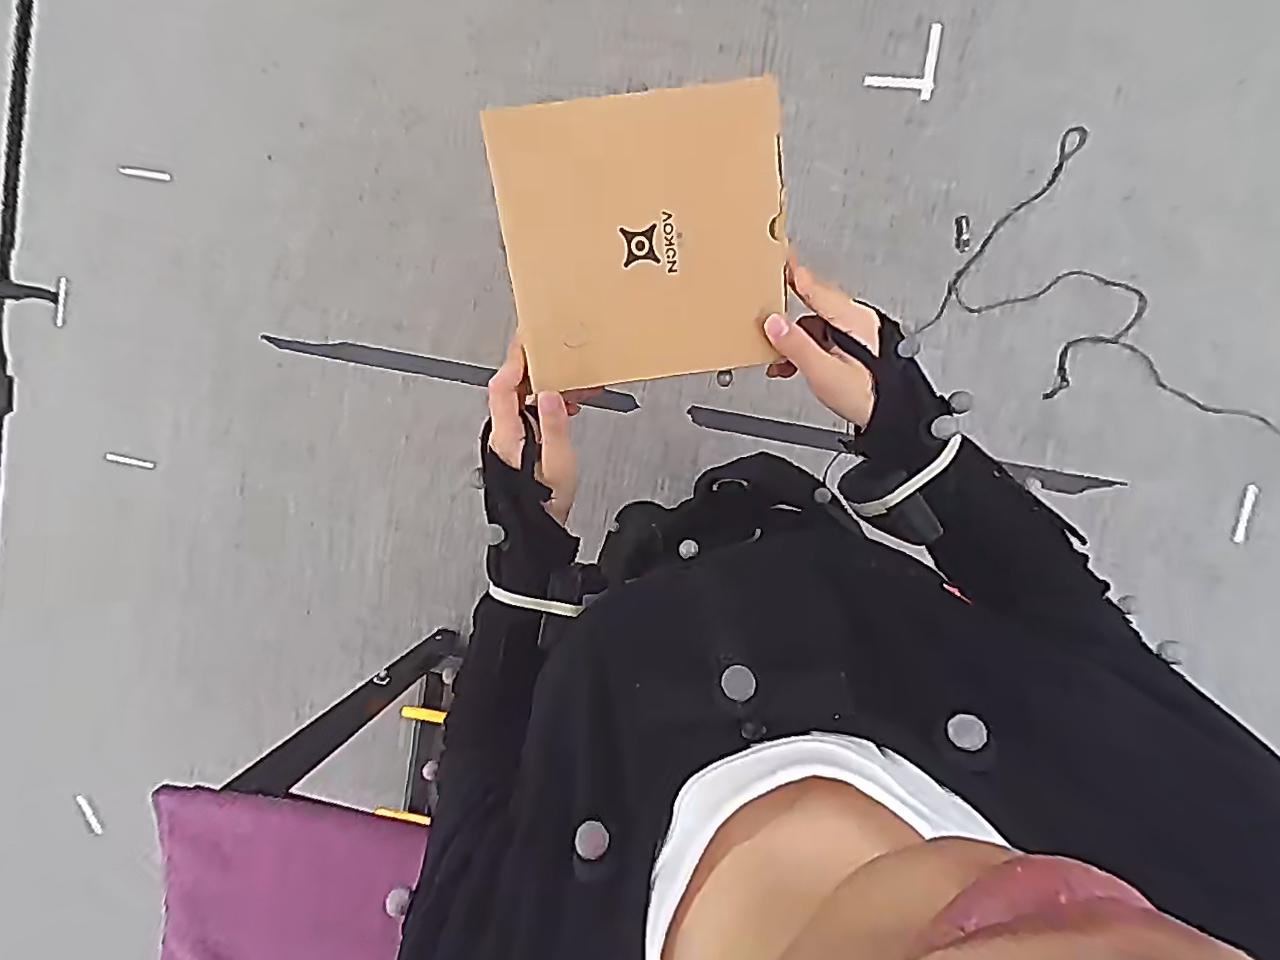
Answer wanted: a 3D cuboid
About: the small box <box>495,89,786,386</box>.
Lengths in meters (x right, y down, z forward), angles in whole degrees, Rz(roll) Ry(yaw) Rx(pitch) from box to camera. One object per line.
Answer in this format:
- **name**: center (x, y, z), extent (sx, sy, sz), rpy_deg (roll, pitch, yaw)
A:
- **small box**: center (0.002, -0.171, 0.425), extent (0.179, 0.176, 0.168), rpy_deg (-8, 106, -2)
